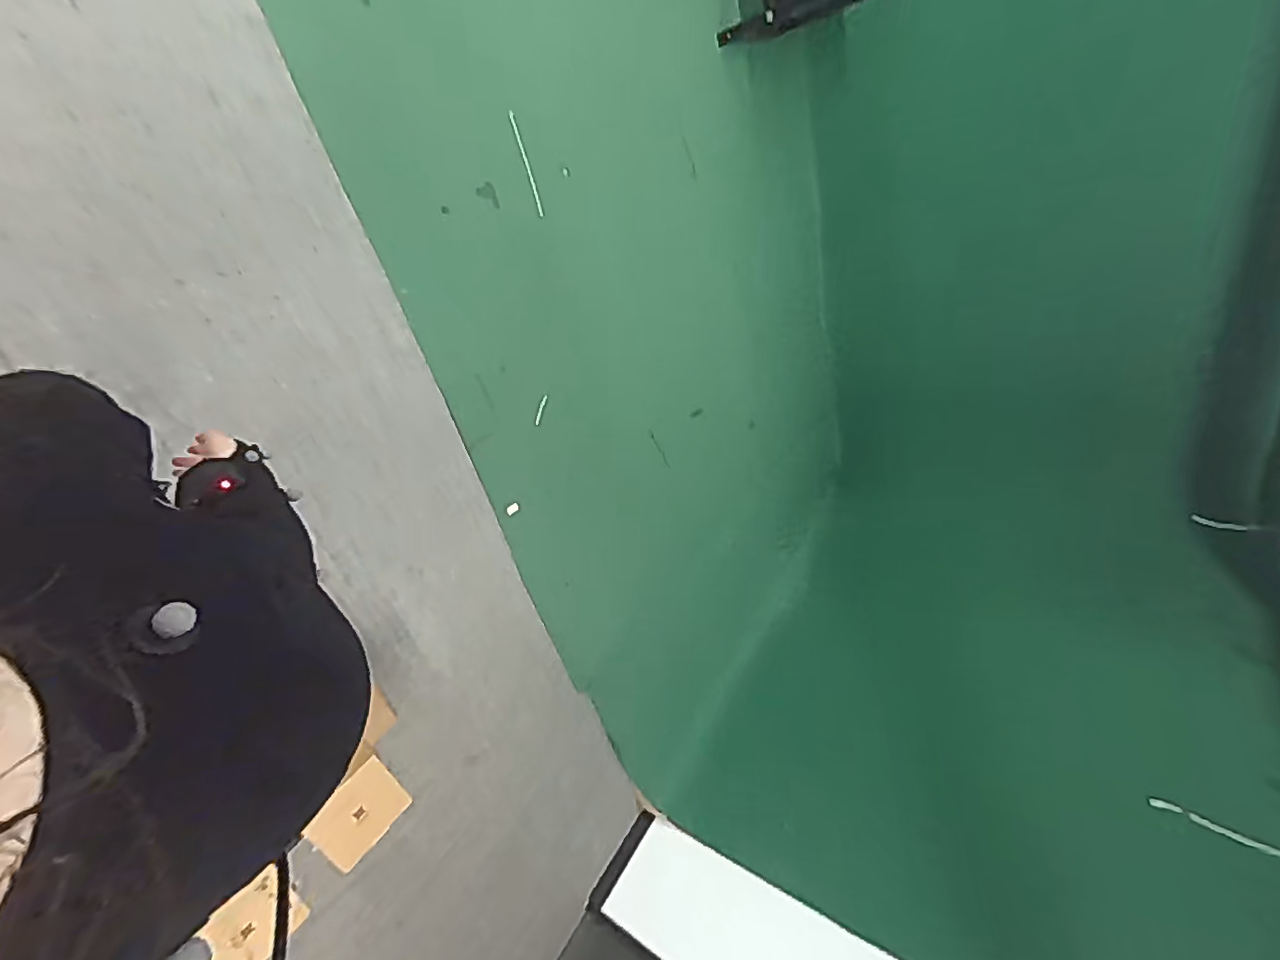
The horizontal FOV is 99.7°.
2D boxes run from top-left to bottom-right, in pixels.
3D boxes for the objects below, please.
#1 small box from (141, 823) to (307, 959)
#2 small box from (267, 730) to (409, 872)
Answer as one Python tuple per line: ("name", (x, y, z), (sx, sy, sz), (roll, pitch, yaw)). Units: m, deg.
("small box", (-0.760, 0.783, 0.985), (0.179, 0.176, 0.168), (-38, 124, -43))
("small box", (-0.632, 0.663, 1.137), (0.168, 0.176, 0.179), (-45, 129, -39))
